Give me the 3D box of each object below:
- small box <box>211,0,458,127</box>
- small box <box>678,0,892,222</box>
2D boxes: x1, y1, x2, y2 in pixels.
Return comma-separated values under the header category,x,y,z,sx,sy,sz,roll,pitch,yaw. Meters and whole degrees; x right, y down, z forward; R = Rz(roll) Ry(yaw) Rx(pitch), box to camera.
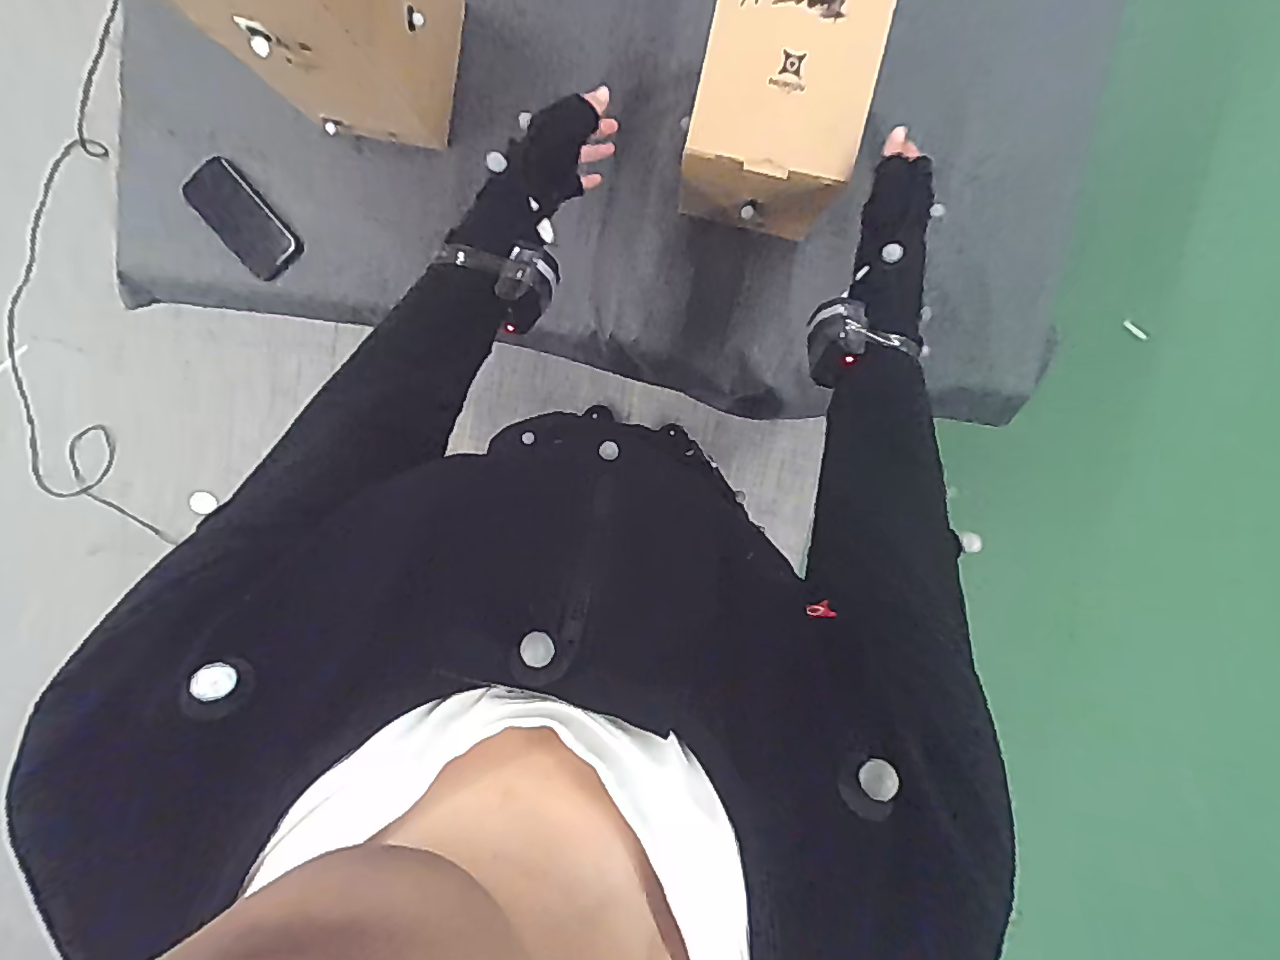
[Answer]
category,x,y,z,sx,sy,sz,roll,pitch,yaw
small box,-0.312,-0.521,0.583,0.168,0.176,0.179,11,97,0
small box,0.141,-0.405,0.585,0.168,0.176,0.179,13,98,1
